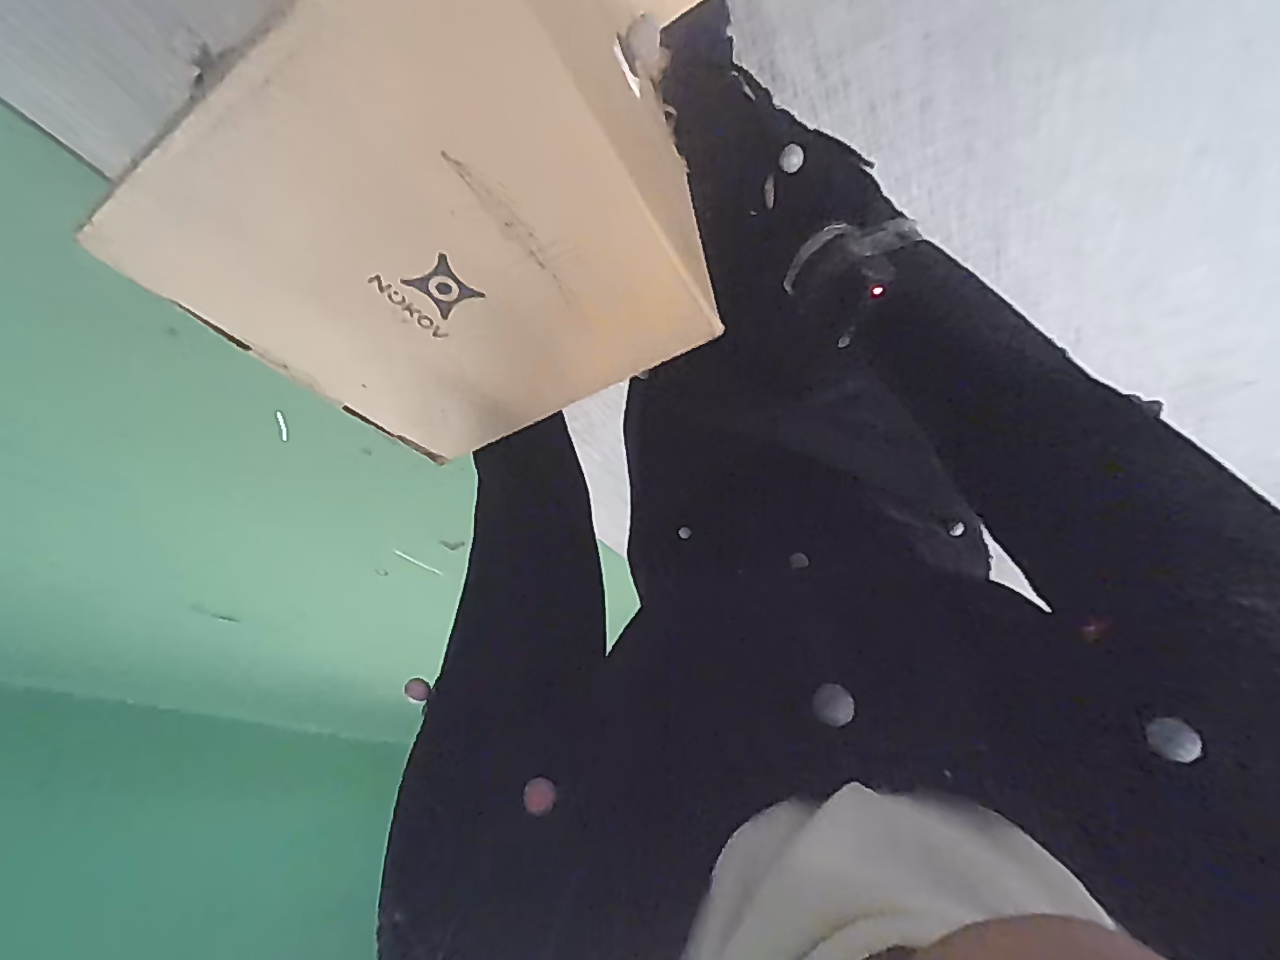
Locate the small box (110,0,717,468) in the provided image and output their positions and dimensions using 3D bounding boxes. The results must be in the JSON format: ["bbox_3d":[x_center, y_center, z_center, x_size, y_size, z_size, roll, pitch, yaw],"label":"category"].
[{"bbox_3d":[-0.082,-0.138,0.262,0.179,0.176,0.168,-22,144,23],"label":"small box"}]
